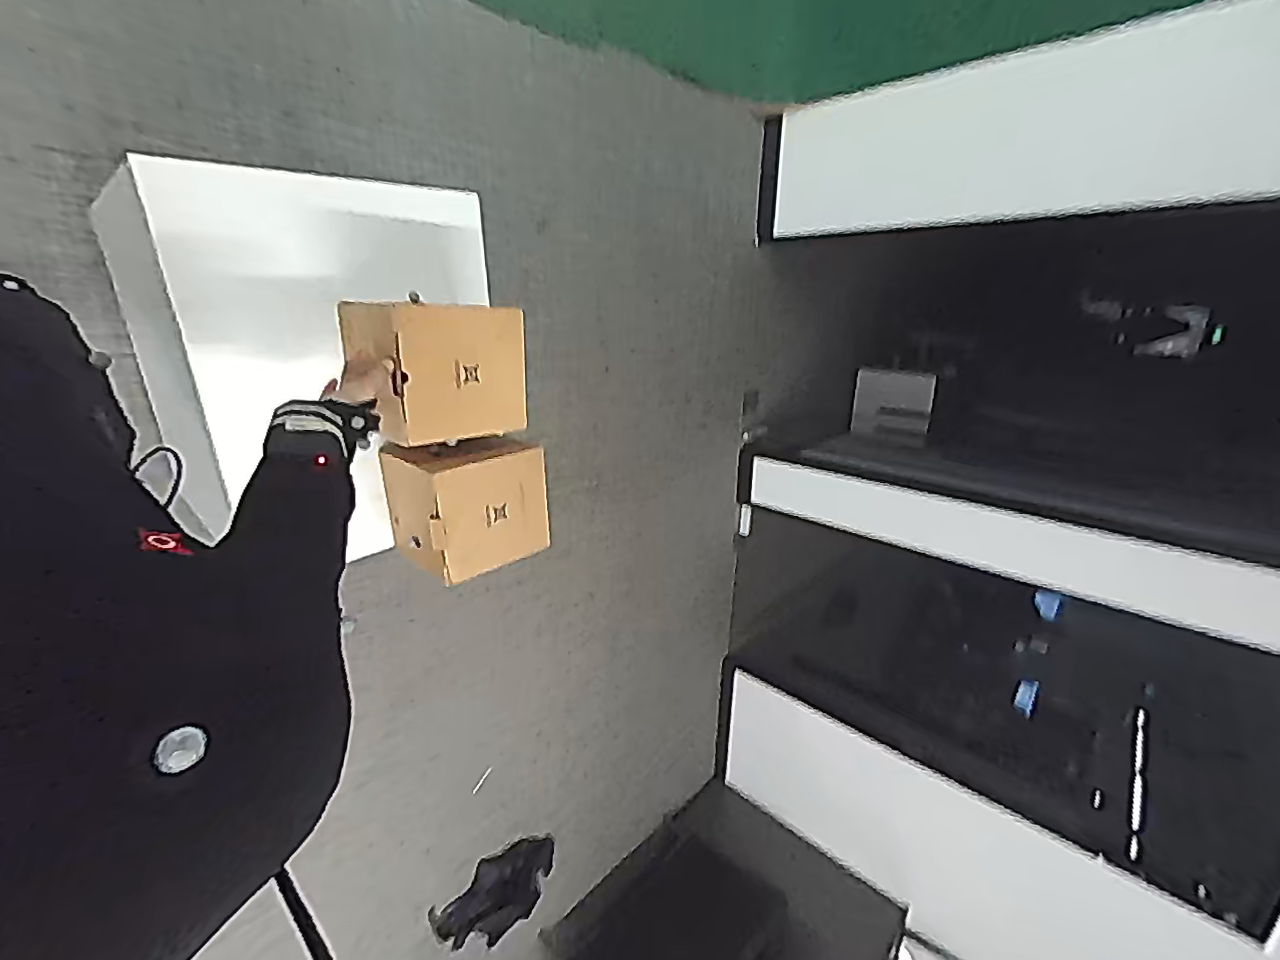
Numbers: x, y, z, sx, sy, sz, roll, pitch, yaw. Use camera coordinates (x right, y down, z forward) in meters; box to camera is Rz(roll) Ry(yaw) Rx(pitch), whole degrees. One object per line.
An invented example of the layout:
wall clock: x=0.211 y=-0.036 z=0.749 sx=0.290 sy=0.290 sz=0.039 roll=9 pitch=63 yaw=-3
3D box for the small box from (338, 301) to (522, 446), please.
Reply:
small box: x=-0.282 y=-0.152 z=0.738 sx=0.179 sy=0.176 sz=0.168 roll=-15 pitch=115 yaw=-44

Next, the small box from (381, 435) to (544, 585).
small box: x=-0.269 y=0.029 z=0.815 sx=0.179 sy=0.176 sz=0.168 roll=-21 pitch=119 yaw=-44
